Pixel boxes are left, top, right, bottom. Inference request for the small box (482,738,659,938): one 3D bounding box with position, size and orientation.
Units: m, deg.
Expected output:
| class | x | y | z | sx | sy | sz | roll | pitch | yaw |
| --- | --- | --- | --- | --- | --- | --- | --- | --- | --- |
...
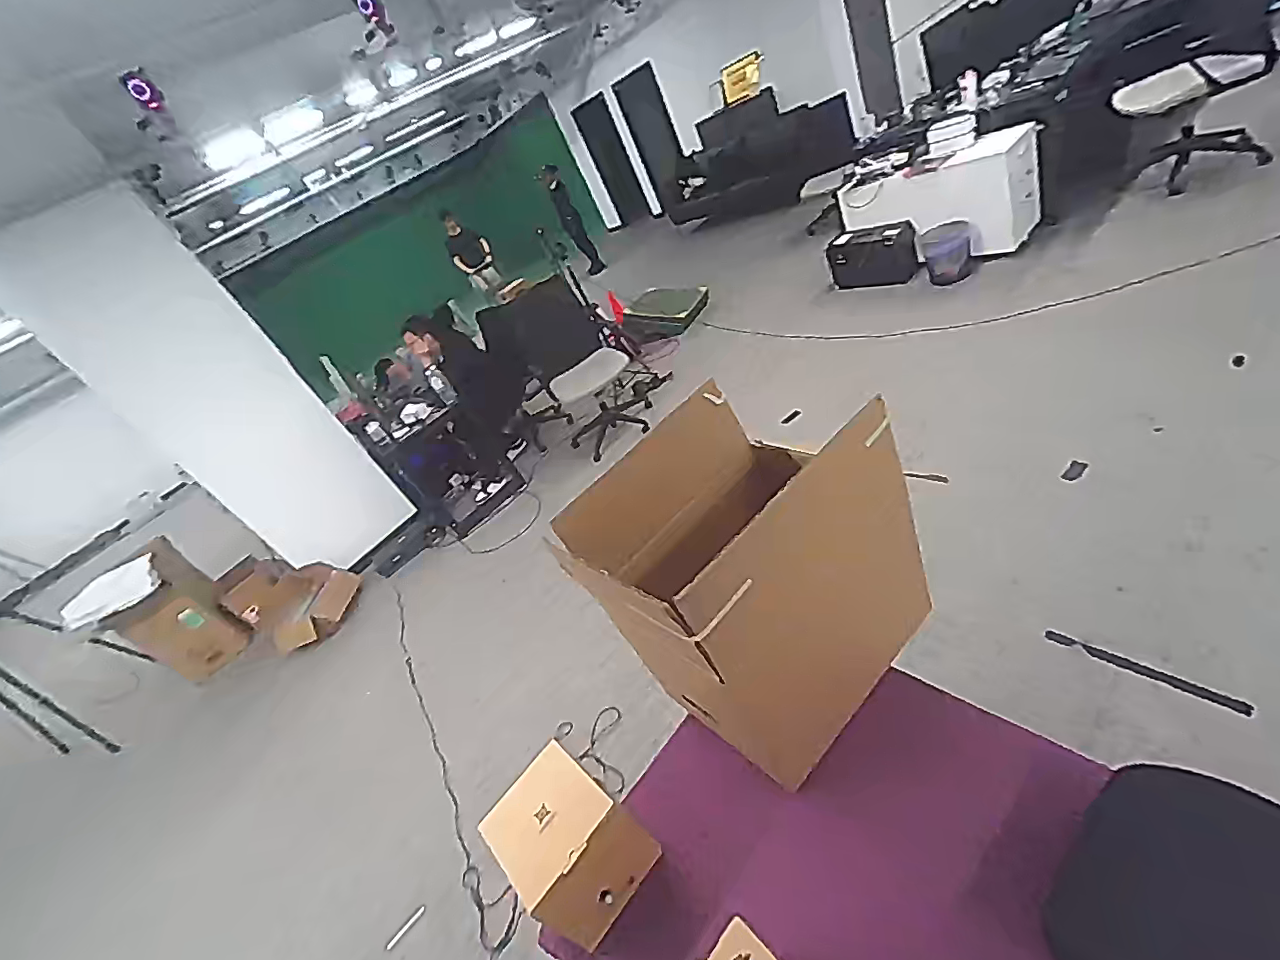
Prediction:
| class | x | y | z | sx | sy | sz | roll | pitch | yaw |
| --- | --- | --- | --- | --- | --- | --- | --- | --- | --- |
| small box | -0.104 | 0.550 | 0.837 | 0.168 | 0.176 | 0.179 | -44 | 35 | -23 |
